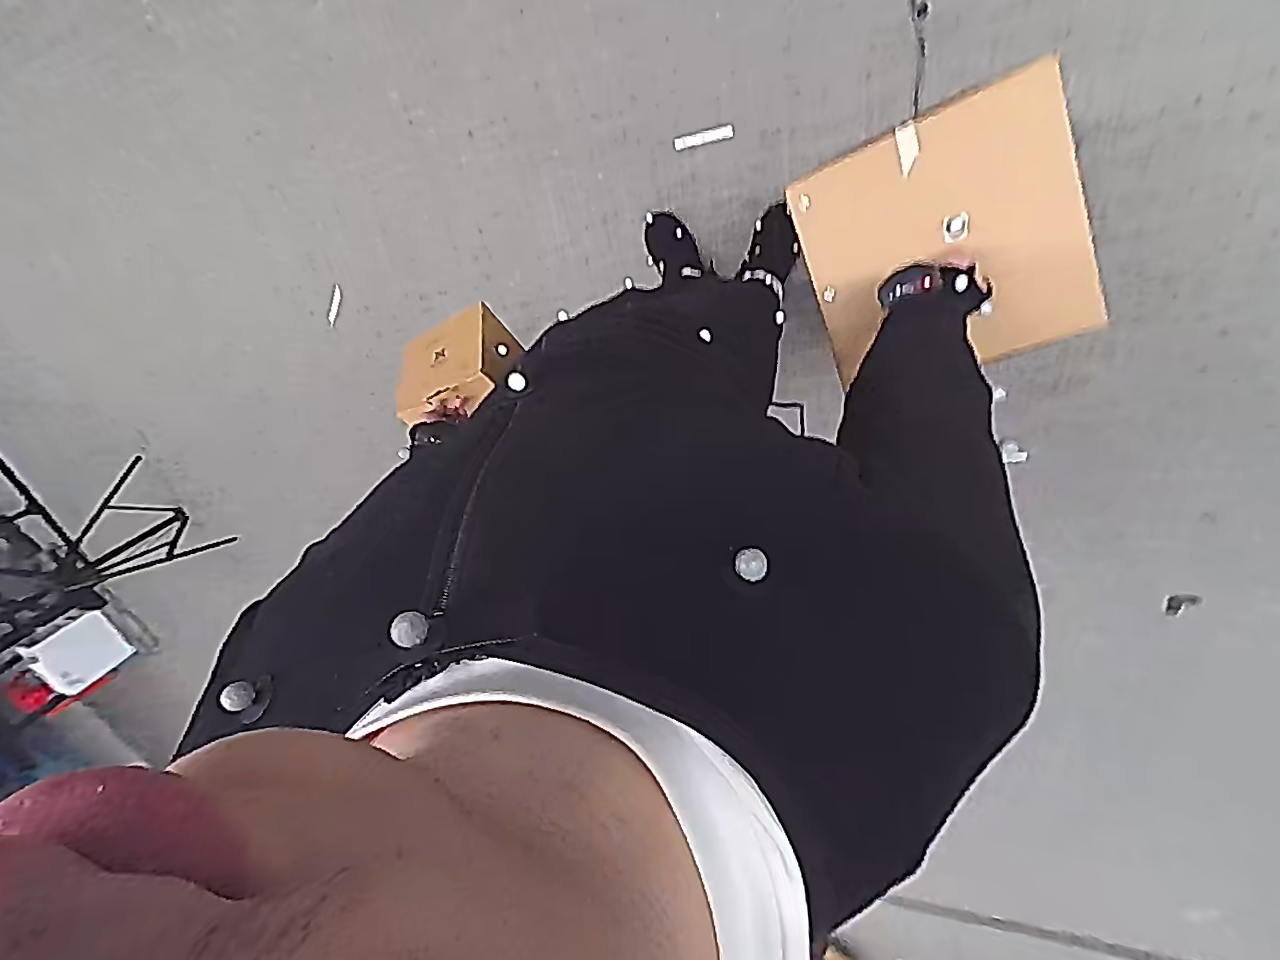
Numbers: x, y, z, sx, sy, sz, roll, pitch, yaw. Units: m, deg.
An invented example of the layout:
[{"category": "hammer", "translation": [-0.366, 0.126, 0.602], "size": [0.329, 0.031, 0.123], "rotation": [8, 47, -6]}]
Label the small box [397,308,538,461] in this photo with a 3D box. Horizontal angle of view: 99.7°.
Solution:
[{"category": "small box", "translation": [-0.290, -0.154, 0.938], "size": [0.168, 0.179, 0.176], "rotation": [-22, 143, 14]}]
